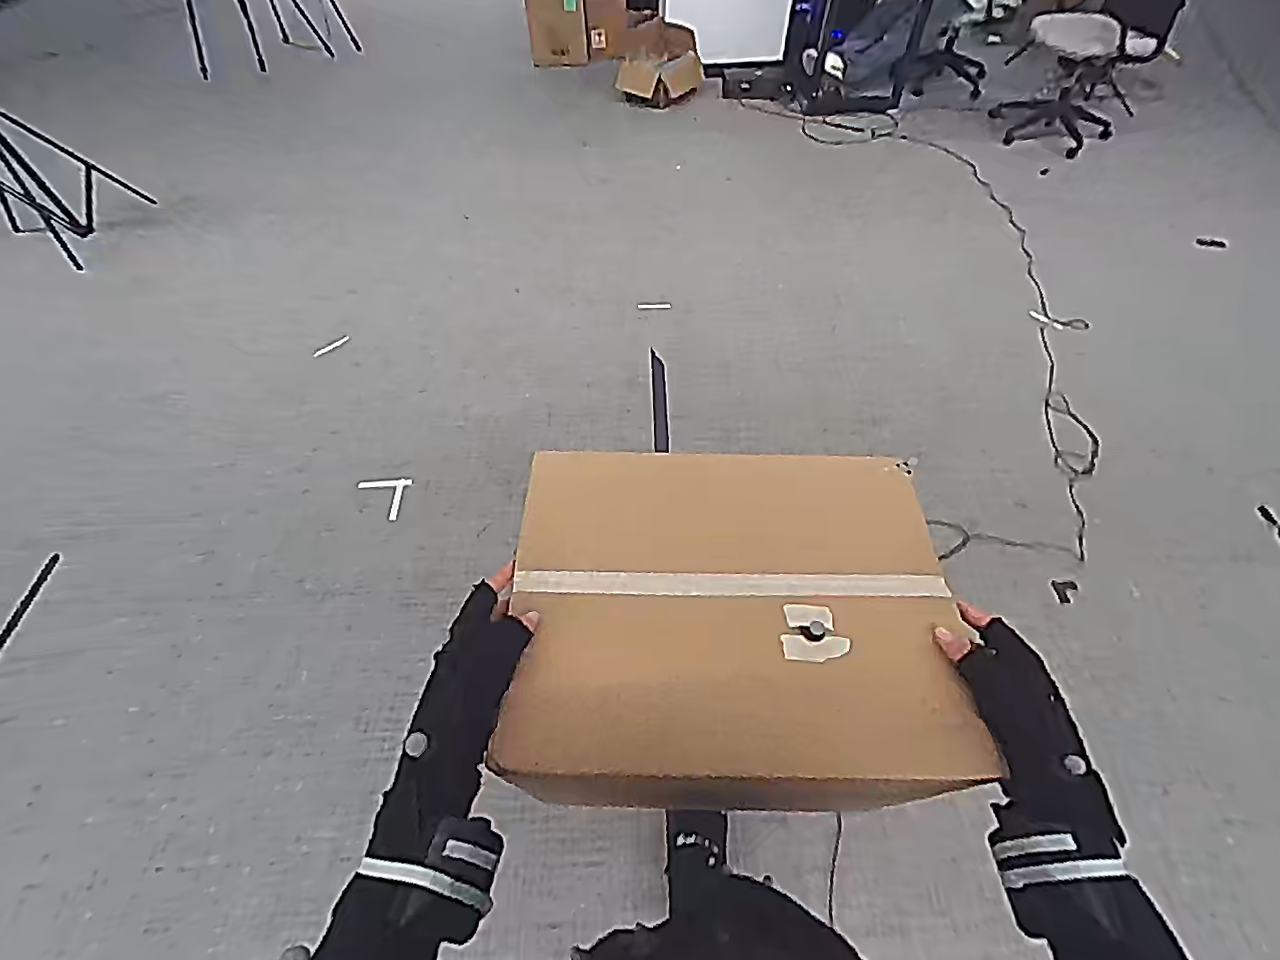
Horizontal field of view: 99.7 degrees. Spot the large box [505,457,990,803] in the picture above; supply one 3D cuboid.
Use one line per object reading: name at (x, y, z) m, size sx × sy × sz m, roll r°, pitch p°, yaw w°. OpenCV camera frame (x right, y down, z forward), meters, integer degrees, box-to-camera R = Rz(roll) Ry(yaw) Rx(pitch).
large box at (0.082, 0.186, 0.639) m, size 0.408 × 0.320 × 0.320 m, roll 1°, pitch 55°, yaw -1°
